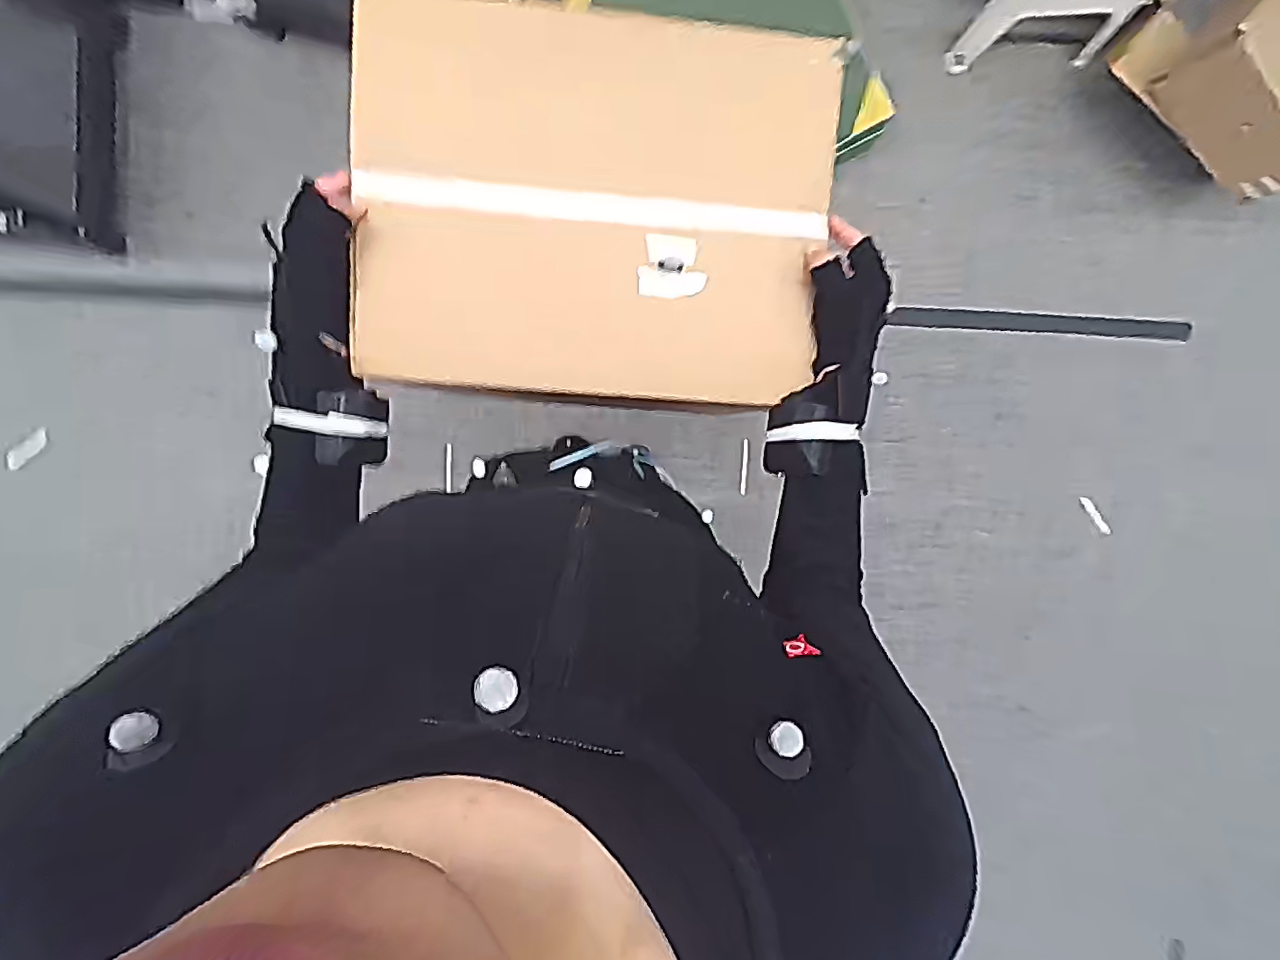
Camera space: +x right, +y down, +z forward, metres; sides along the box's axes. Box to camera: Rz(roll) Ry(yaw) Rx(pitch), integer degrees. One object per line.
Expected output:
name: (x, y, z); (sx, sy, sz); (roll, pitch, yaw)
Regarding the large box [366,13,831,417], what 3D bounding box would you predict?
large box: (-0.049, -0.241, 0.625); (0.408, 0.320, 0.320); (4, 96, -5)
